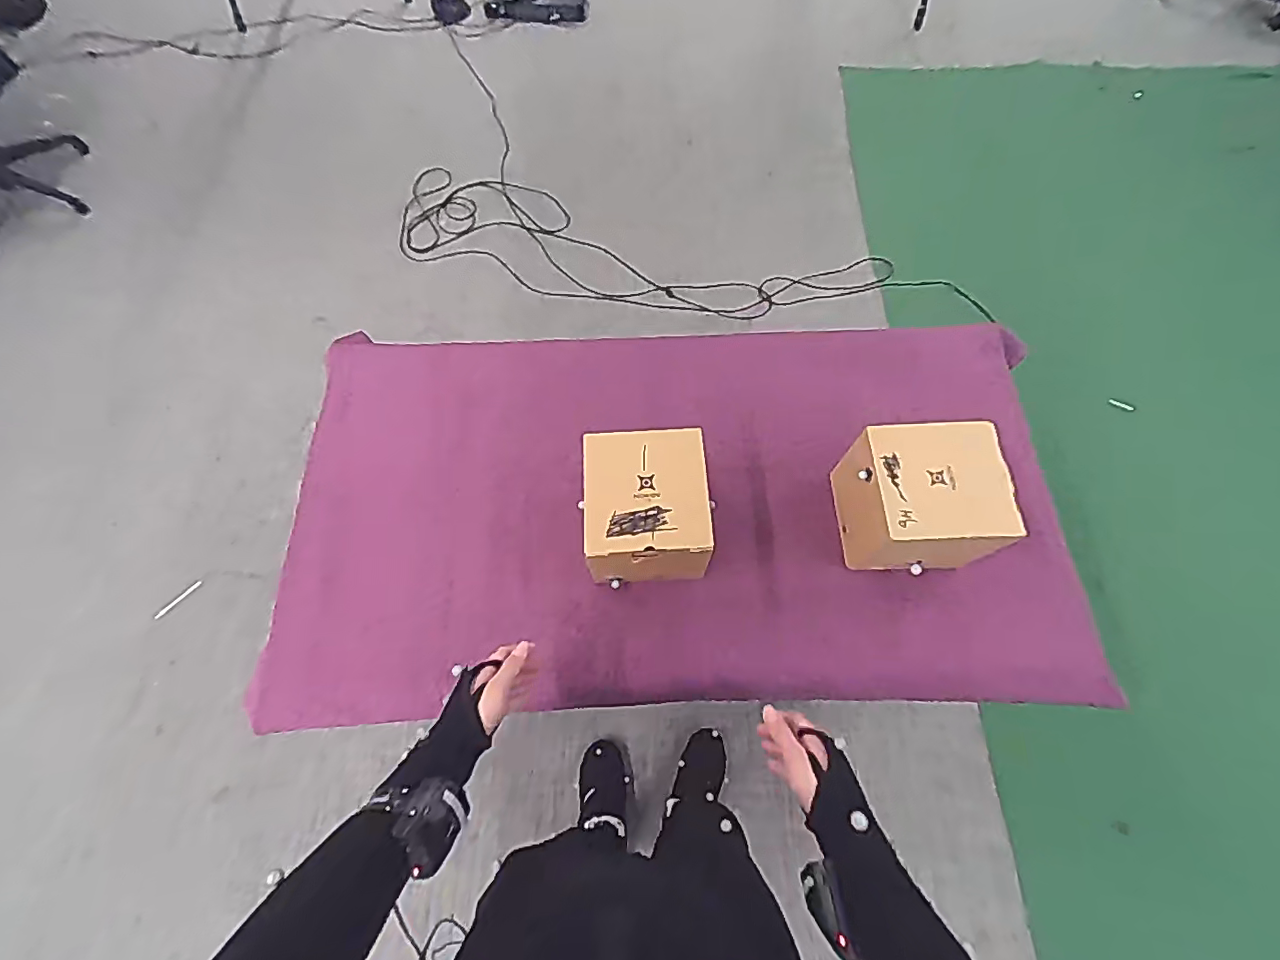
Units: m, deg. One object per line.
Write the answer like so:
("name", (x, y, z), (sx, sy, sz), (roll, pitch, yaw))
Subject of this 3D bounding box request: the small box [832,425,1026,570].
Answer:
("small box", (0.400, 0.031, 0.783), (0.179, 0.176, 0.168), (-1, 67, 0))

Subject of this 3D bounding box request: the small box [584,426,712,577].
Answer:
("small box", (0.010, 0.040, 0.781), (0.168, 0.176, 0.179), (-2, 67, -1))
